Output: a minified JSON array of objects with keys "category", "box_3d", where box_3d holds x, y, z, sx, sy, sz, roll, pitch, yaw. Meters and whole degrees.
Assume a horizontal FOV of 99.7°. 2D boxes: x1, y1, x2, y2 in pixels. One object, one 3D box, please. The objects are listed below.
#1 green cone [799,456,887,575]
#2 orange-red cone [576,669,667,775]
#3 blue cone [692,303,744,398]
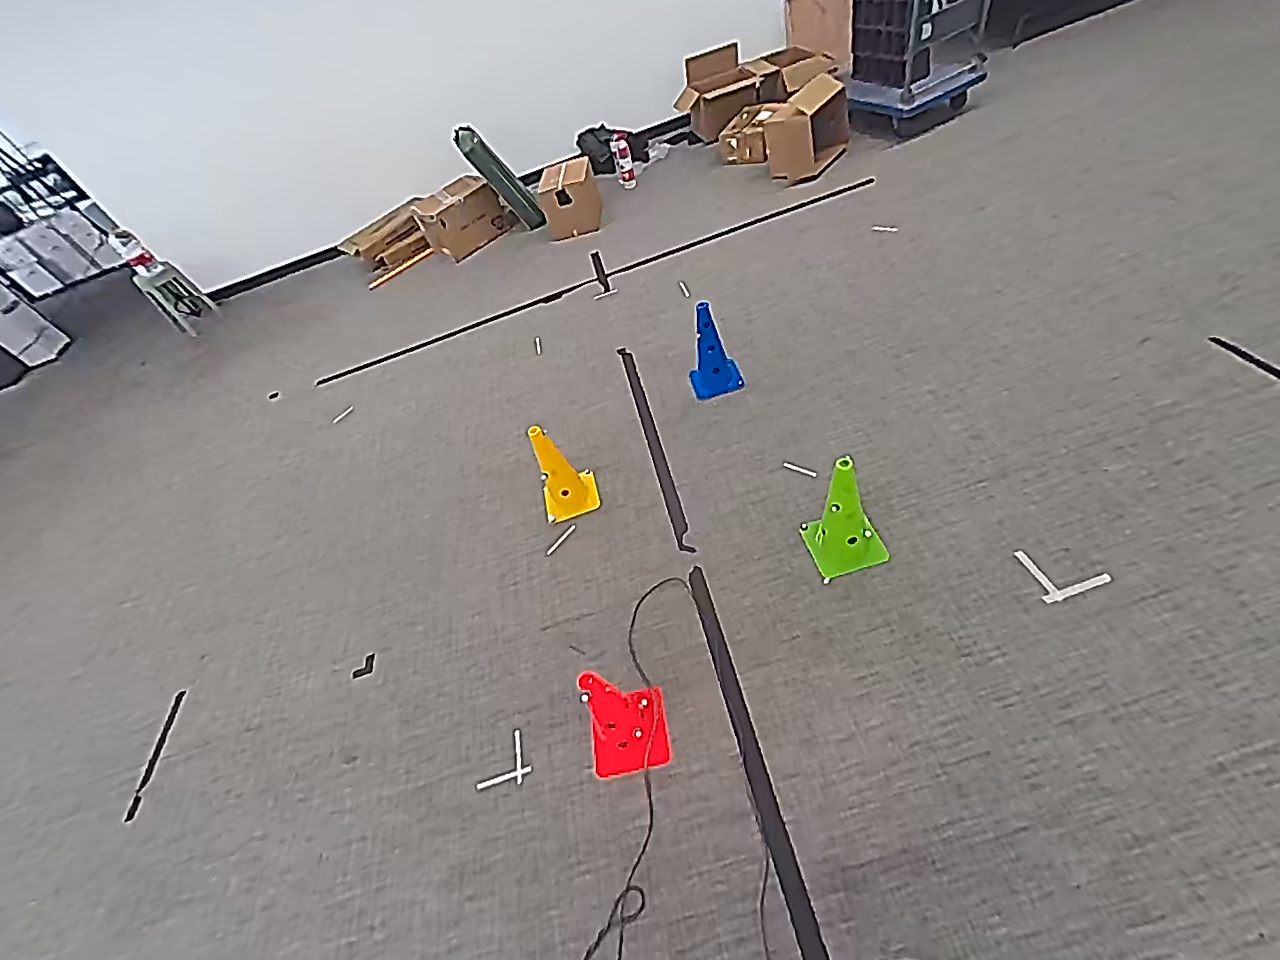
[{"category":"green cone","box_3d":[0.558,0.072,1.485,0.202,0.368,0.200,-18,47,2]},{"category":"orange-red cone","box_3d":[-0.077,0.545,1.296,0.199,0.360,0.198,-16,45,7]},{"category":"blue cone","box_3d":[0.280,-0.522,2.129,0.192,0.380,0.193,-15,47,5]}]
